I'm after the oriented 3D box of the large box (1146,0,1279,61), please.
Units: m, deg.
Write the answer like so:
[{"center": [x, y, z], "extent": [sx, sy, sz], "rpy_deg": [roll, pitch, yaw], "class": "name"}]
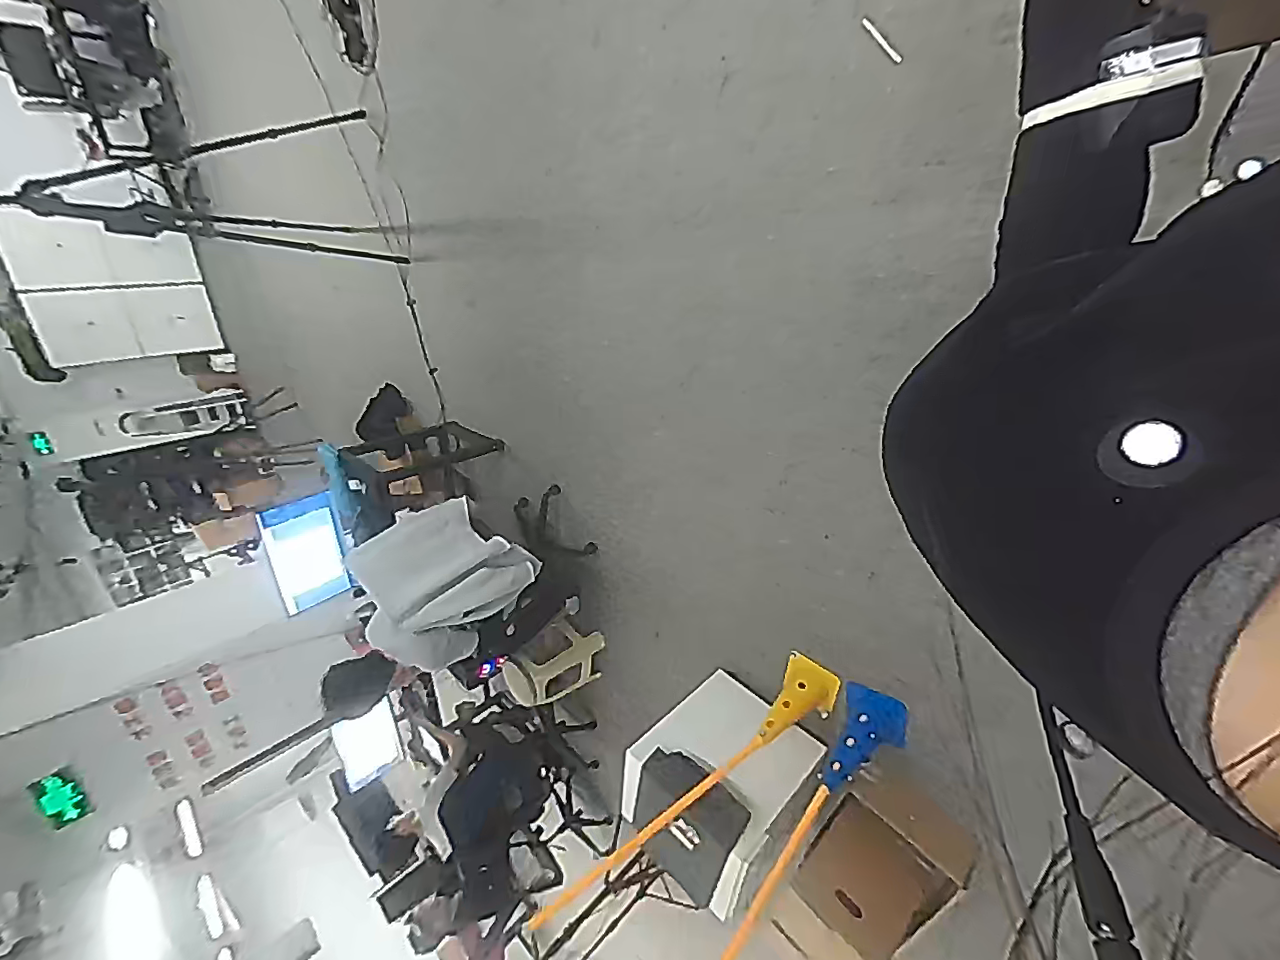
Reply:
[{"center": [0.522, -0.436, 0.220], "extent": [0.408, 0.320, 0.320], "rpy_deg": [16, 120, 42], "class": "large box"}]
